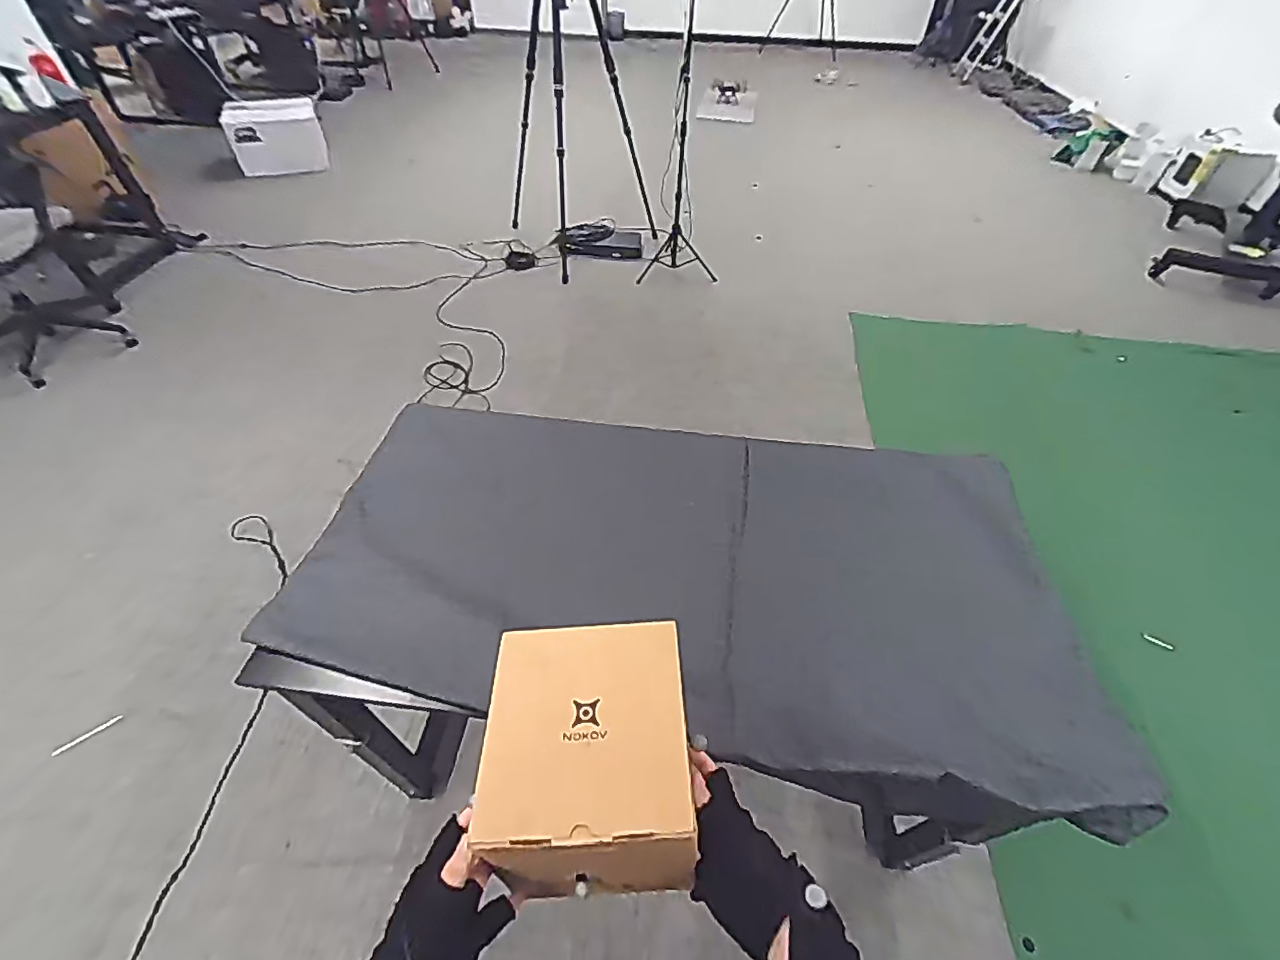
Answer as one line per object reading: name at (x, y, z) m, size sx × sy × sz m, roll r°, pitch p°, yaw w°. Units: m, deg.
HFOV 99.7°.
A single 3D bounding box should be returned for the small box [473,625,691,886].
small box at (-0.042, 0.261, 0.515) m, size 0.168 × 0.176 × 0.179 m, roll -4°, pitch 44°, yaw 1°
